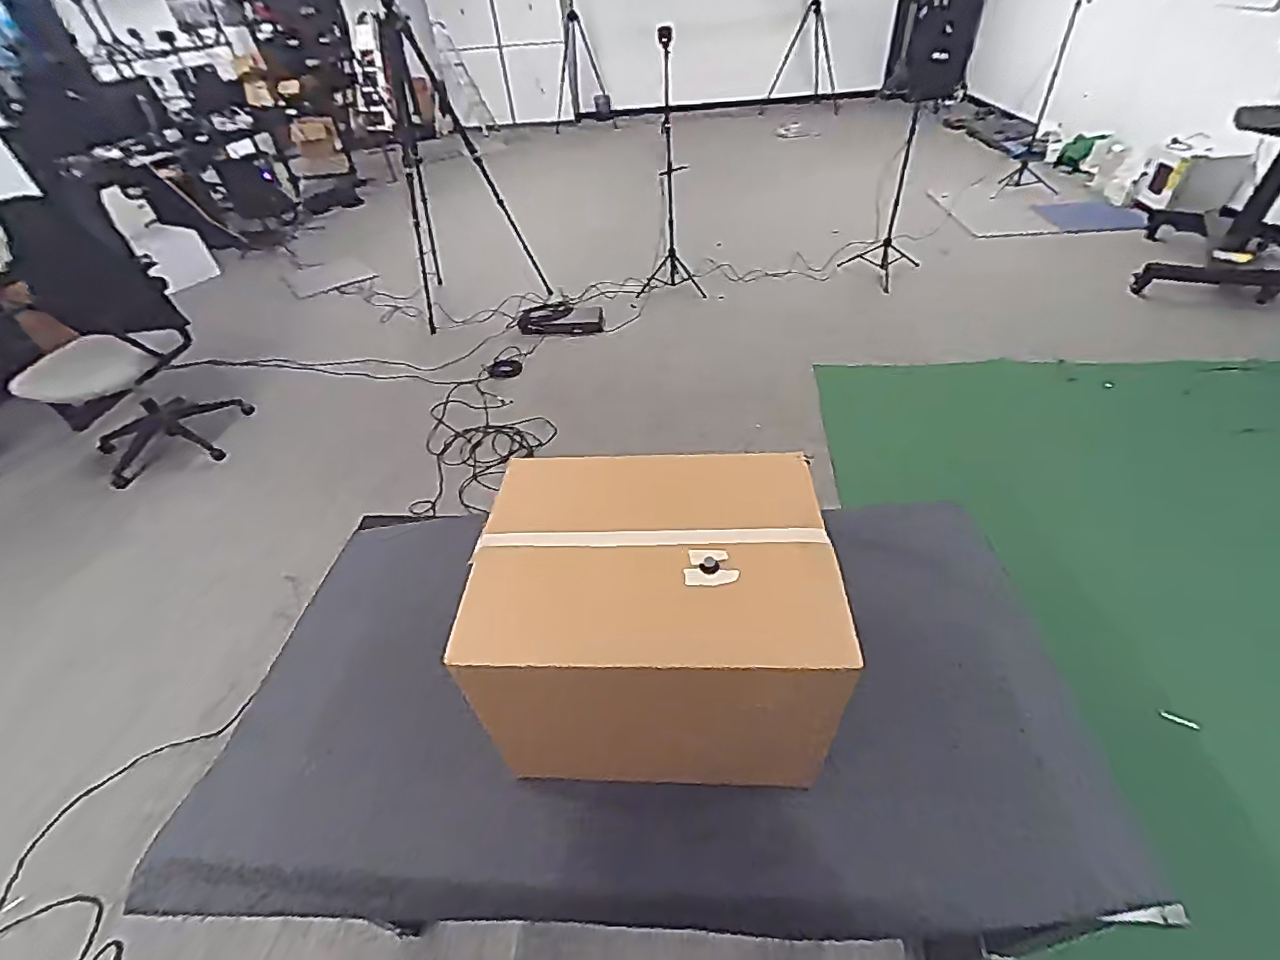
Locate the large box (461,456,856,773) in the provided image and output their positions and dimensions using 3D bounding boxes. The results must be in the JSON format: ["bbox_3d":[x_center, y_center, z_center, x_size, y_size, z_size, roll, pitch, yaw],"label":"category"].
[{"bbox_3d":[0.026,0.185,0.743,0.408,0.320,0.320,-1,43,4],"label":"large box"}]
